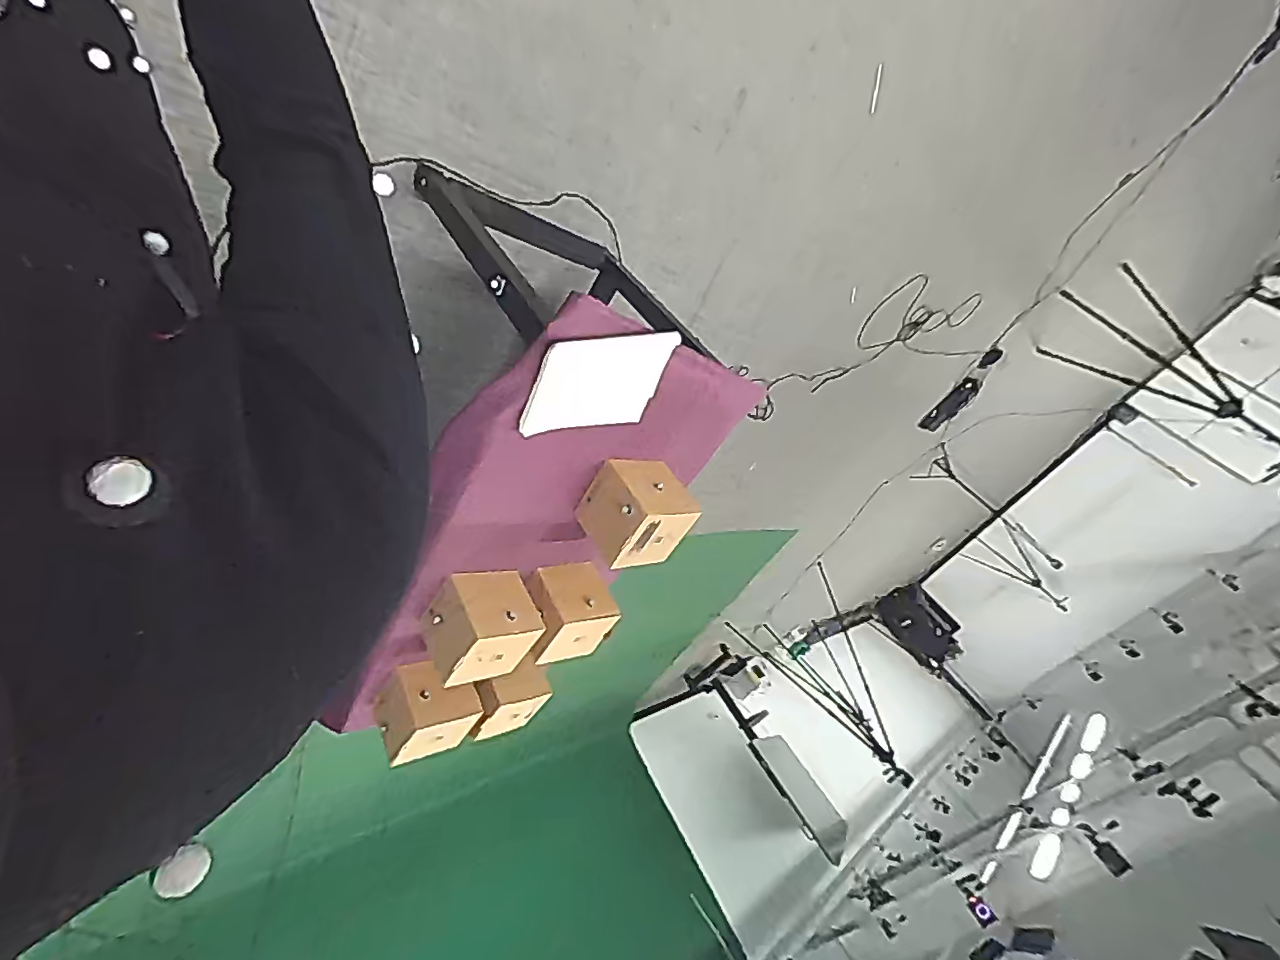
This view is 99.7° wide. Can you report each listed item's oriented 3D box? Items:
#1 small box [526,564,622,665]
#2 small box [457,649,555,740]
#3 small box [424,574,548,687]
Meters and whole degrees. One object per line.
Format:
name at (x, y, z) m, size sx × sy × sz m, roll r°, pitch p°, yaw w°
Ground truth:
small box at (-0.185, 0.328, 1.351) m, size 0.179 × 0.176 × 0.168 m, roll 1°, pitch 132°, yaw -46°
small box at (-0.374, 0.576, 1.488) m, size 0.179 × 0.176 × 0.168 m, roll 11°, pitch 125°, yaw -50°
small box at (-0.340, 0.319, 1.183) m, size 0.179 × 0.176 × 0.168 m, roll 8°, pitch 127°, yaw -49°
